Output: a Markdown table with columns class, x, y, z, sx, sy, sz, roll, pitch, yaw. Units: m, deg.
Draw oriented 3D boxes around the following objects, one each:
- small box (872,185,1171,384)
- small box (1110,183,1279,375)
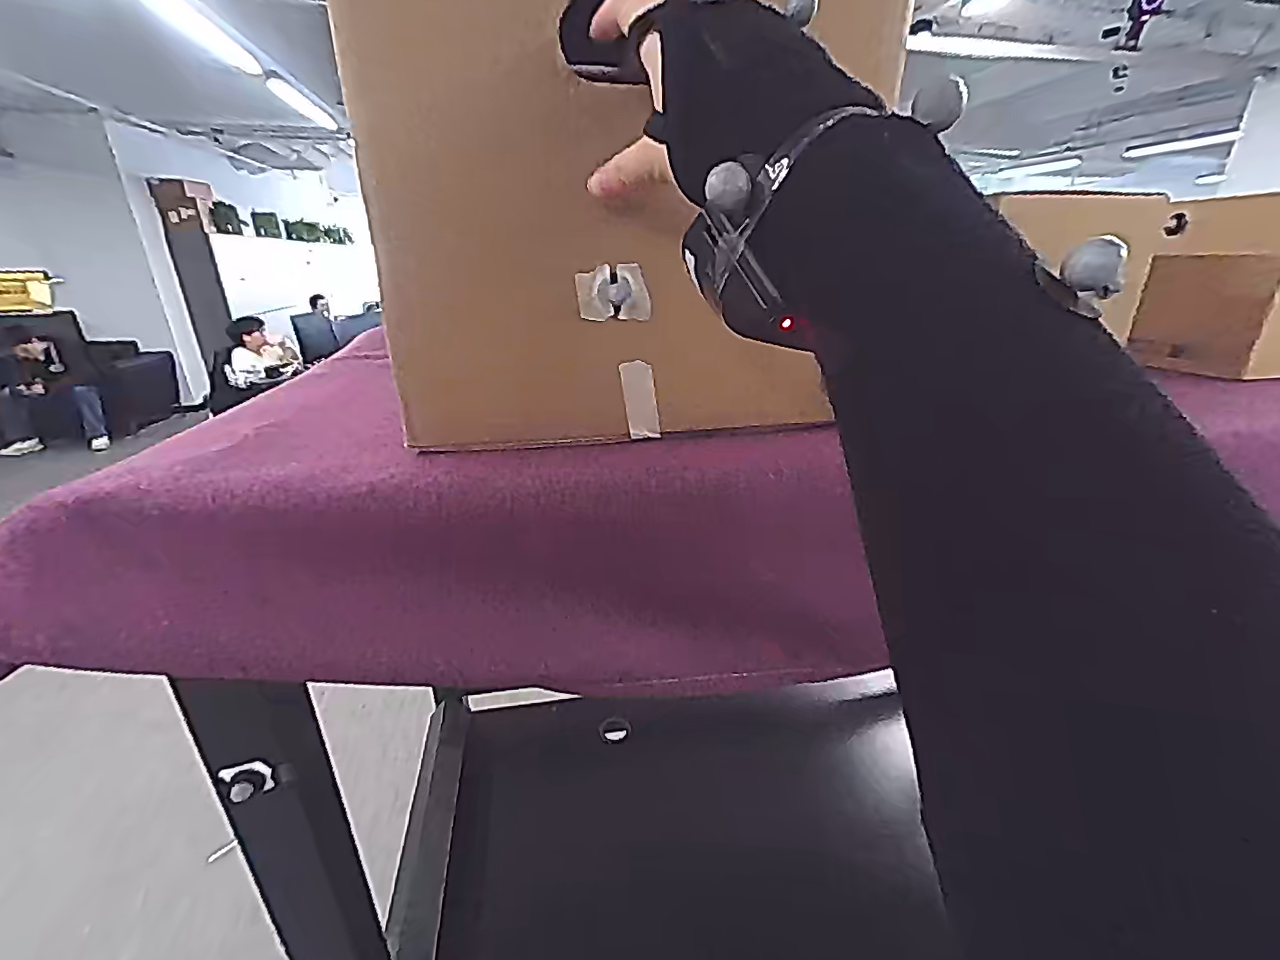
| class | x | y | z | sx | sy | sz | roll | pitch | yaw |
| --- | --- | --- | --- | --- | --- | --- | --- | --- | --- |
| small box | 0.369 | -0.200 | 0.561 | 0.179 | 0.176 | 0.168 | -5 | 21 | -9 |
| small box | 0.637 | -0.210 | 0.572 | 0.179 | 0.176 | 0.168 | -5 | 21 | -11 |
